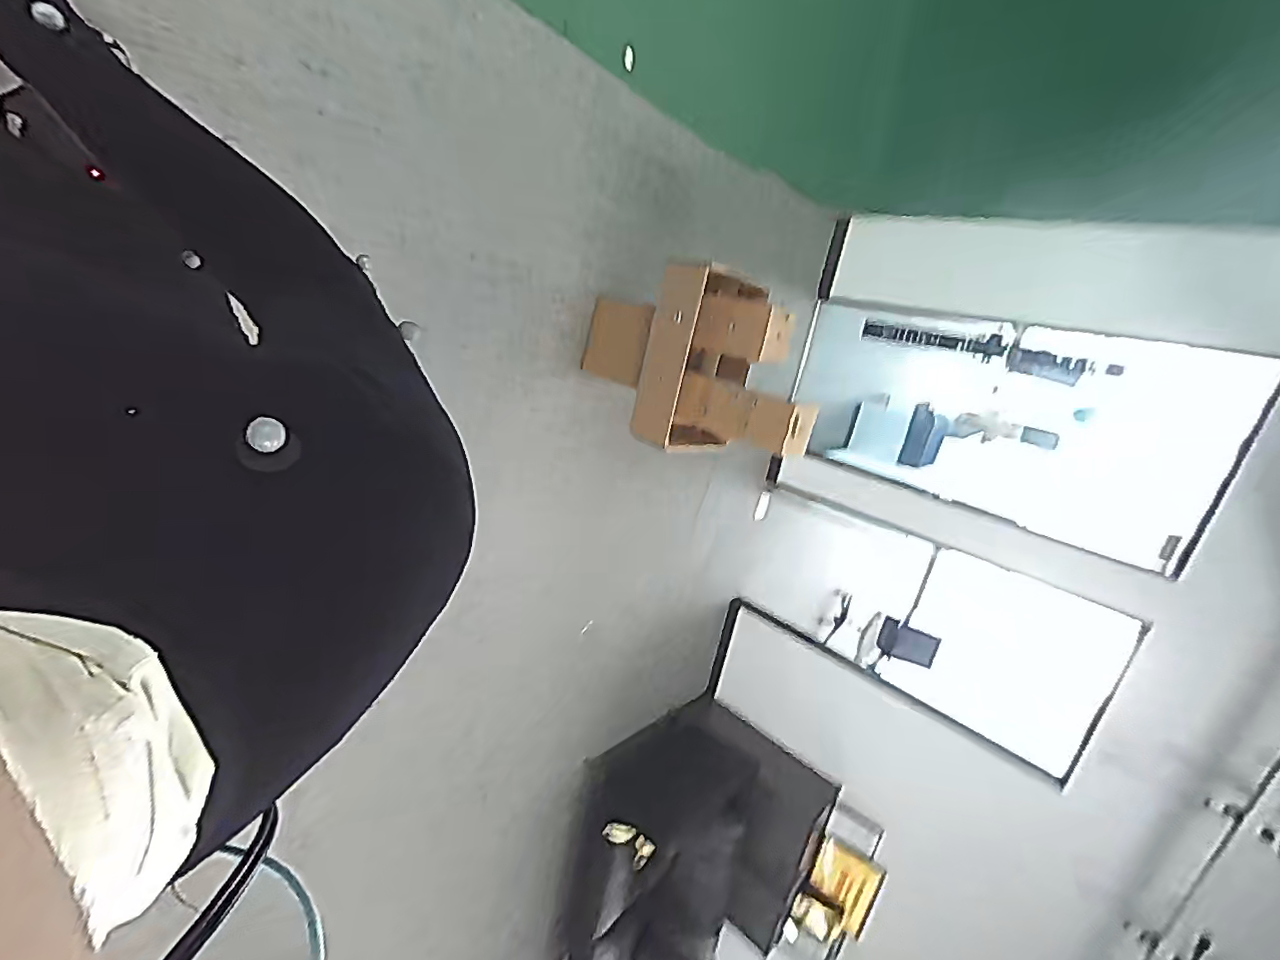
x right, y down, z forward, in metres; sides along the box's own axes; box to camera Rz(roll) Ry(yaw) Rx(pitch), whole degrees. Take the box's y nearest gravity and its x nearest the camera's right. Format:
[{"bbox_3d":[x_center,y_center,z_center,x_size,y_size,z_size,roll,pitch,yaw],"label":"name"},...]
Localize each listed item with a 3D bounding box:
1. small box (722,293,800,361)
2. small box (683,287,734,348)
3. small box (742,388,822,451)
[{"bbox_3d":[0.389,-0.500,1.768,0.168,0.176,0.179,-9,117,-47],"label":"small box"},{"bbox_3d":[0.272,-0.558,1.869,0.168,0.176,0.179,-7,116,-48],"label":"small box"},{"bbox_3d":[0.454,-0.197,1.744,0.179,0.176,0.168,-6,115,-49],"label":"small box"}]
